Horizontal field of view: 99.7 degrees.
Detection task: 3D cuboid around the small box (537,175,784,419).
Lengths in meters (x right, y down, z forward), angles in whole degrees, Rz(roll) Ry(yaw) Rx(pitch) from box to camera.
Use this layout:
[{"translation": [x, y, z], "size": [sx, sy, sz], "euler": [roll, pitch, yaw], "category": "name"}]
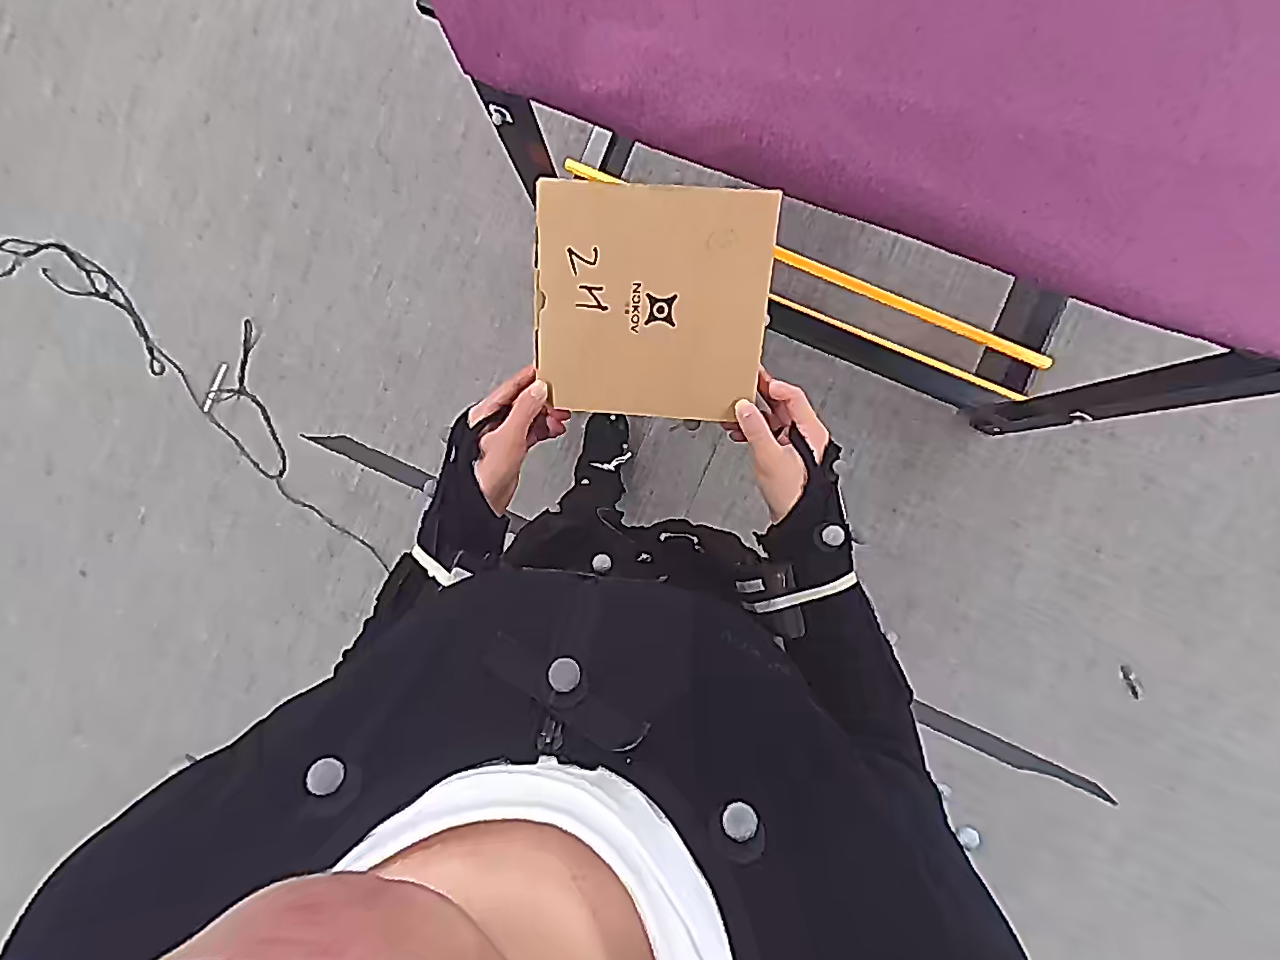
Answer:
[{"translation": [0.015, -0.158, 0.482], "size": [0.179, 0.176, 0.168], "euler": [5, 108, 3], "category": "small box"}]
